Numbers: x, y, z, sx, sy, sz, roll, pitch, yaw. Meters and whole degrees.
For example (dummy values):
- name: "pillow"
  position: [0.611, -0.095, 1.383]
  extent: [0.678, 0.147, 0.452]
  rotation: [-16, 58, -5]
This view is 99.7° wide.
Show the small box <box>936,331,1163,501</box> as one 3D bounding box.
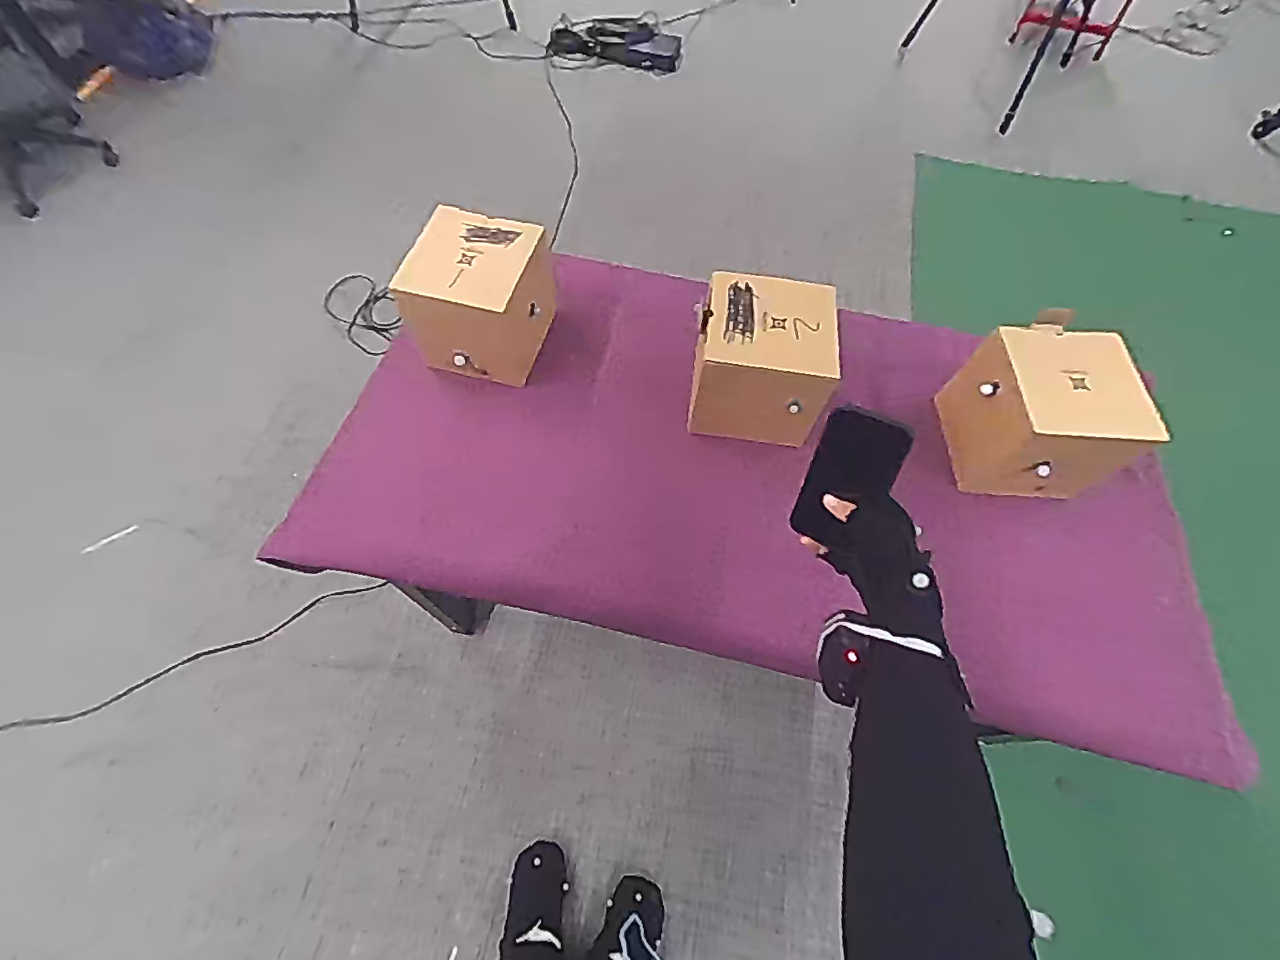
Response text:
- name: "small box"
  position: [0.551, -0.083, 0.759]
  extent: [0.168, 0.176, 0.179]
  rotation: [3, 61, 0]

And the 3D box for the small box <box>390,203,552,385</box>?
- name: "small box"
  position: [-0.238, -0.275, 0.819]
  extent: [0.168, 0.176, 0.179]
  rotation: [14, 64, 4]
